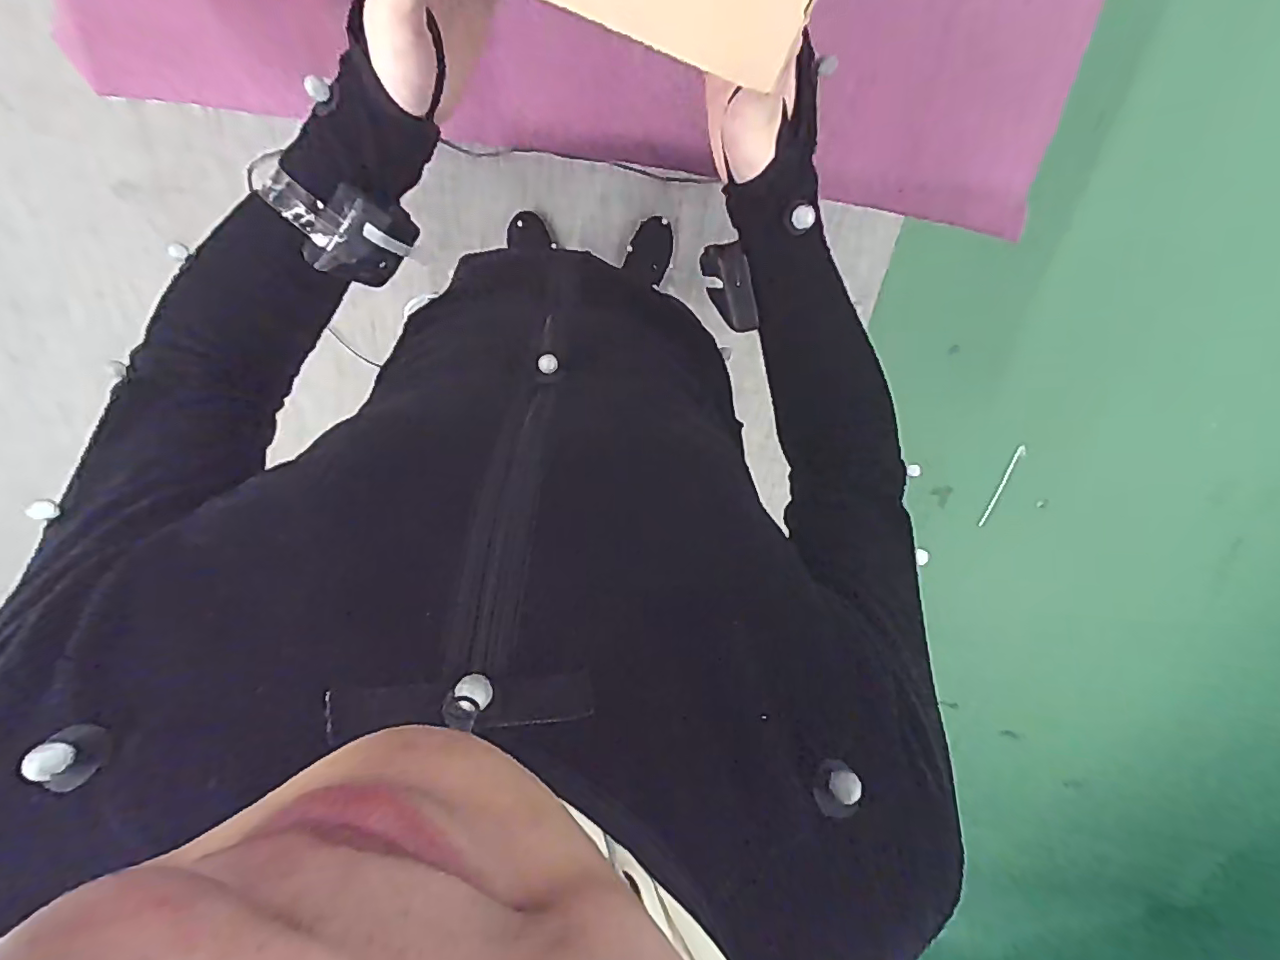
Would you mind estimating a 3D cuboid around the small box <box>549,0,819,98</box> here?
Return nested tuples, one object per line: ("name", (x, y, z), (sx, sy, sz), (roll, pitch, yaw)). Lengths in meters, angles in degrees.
("small box", (0.008, -0.306, 0.226), (0.179, 0.176, 0.168), (13, 136, -15))
